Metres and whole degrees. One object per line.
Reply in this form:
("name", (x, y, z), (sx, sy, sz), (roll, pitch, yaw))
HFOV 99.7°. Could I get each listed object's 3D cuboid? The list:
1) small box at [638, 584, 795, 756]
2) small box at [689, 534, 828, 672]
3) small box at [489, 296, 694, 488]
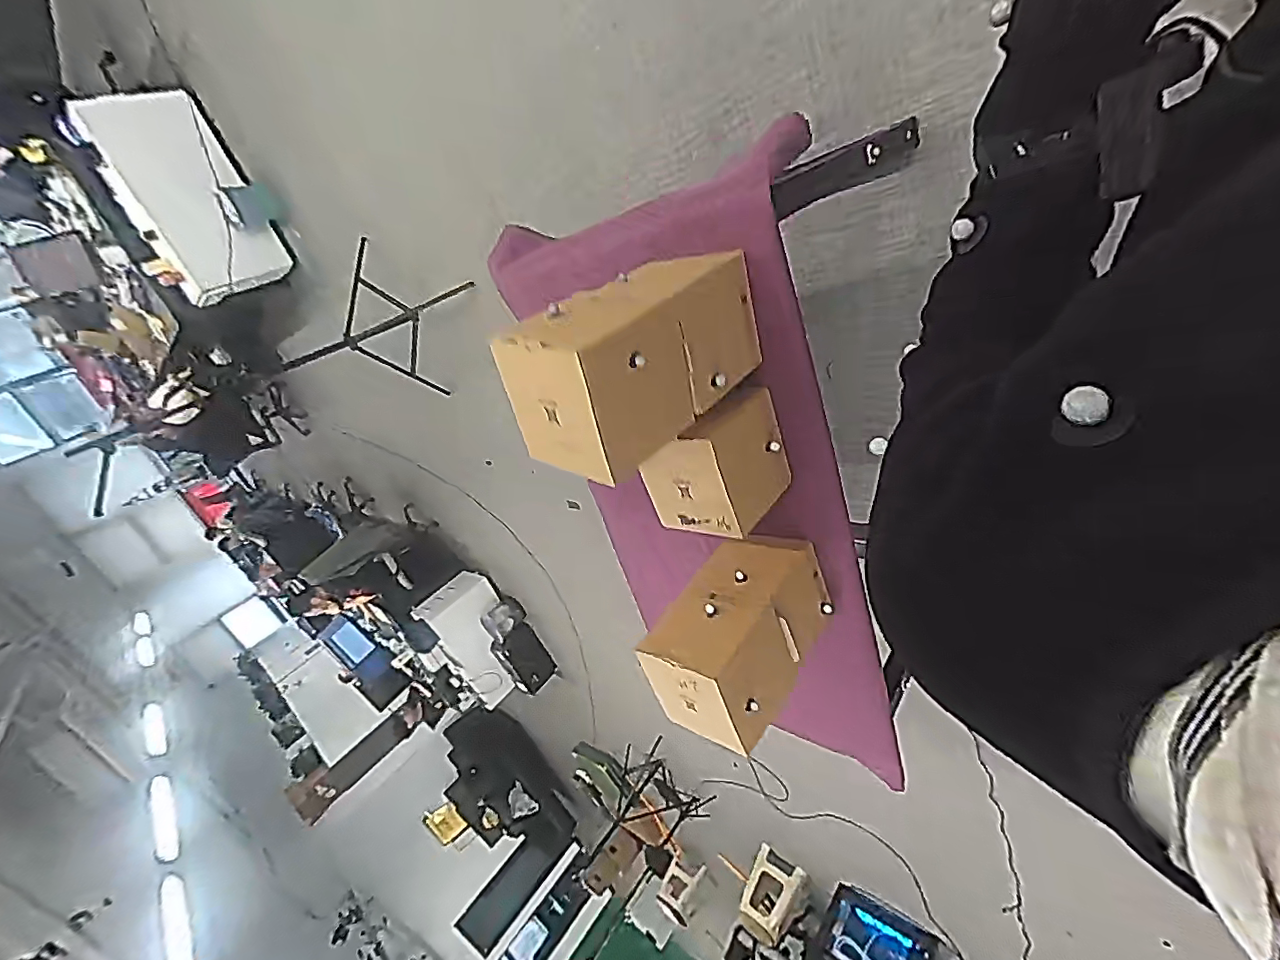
("small box", (0.133, 0.302, 0.889), (0.168, 0.176, 0.179), (4, 125, 45))
("small box", (0.226, 0.216, 0.995), (0.179, 0.176, 0.168), (2, 124, 47))
("small box", (-0.052, -0.122, 0.686), (0.168, 0.176, 0.179), (18, 137, 39))
